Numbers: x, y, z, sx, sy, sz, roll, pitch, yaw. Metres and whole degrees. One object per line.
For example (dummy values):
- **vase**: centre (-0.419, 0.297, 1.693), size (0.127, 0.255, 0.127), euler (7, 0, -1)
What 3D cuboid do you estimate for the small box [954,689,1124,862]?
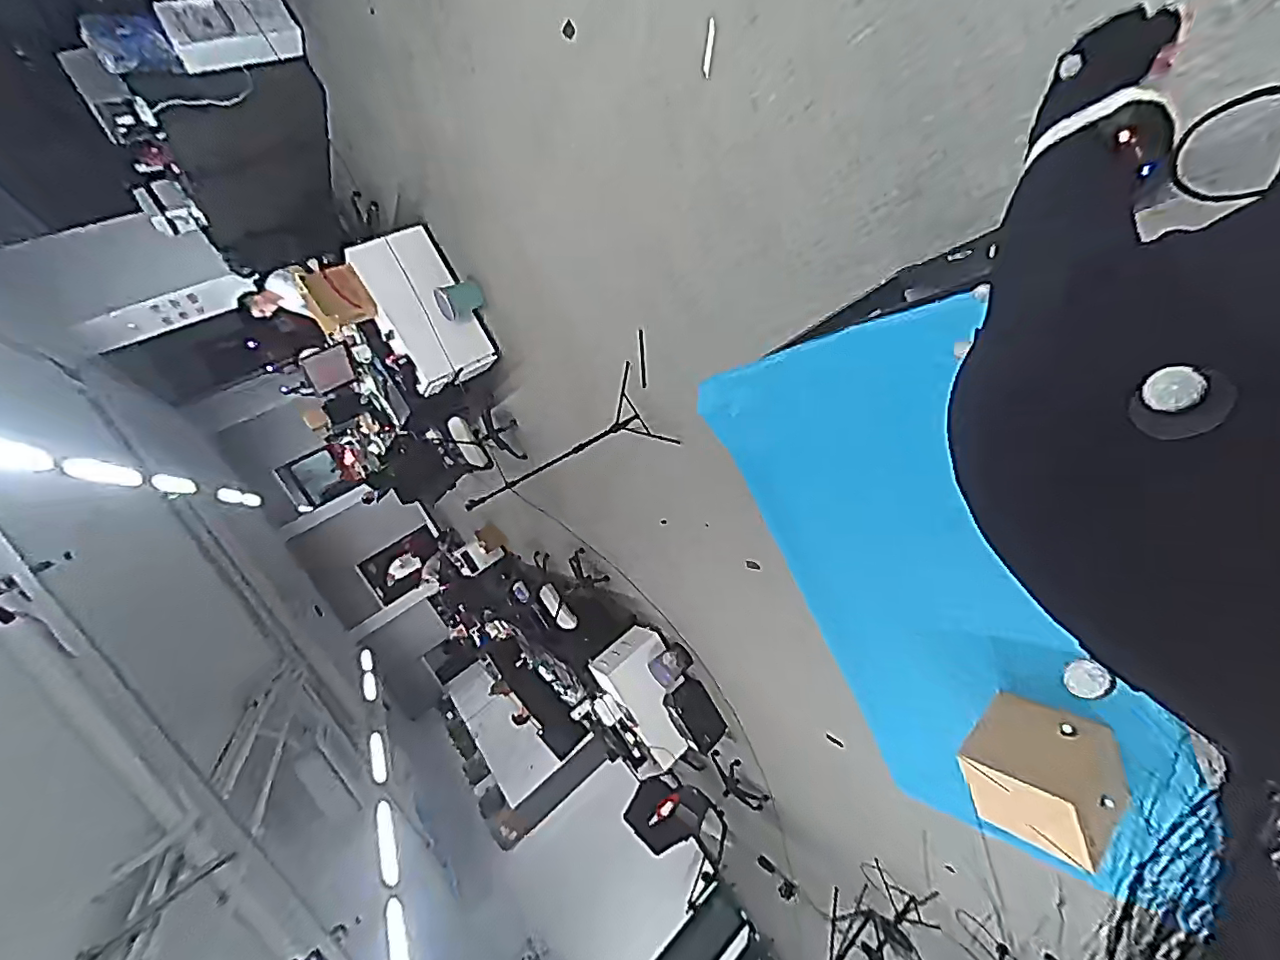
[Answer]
- **small box**: centre (0.696, 0.510, 0.947), size (0.179, 0.176, 0.168), euler (0, 120, 59)
